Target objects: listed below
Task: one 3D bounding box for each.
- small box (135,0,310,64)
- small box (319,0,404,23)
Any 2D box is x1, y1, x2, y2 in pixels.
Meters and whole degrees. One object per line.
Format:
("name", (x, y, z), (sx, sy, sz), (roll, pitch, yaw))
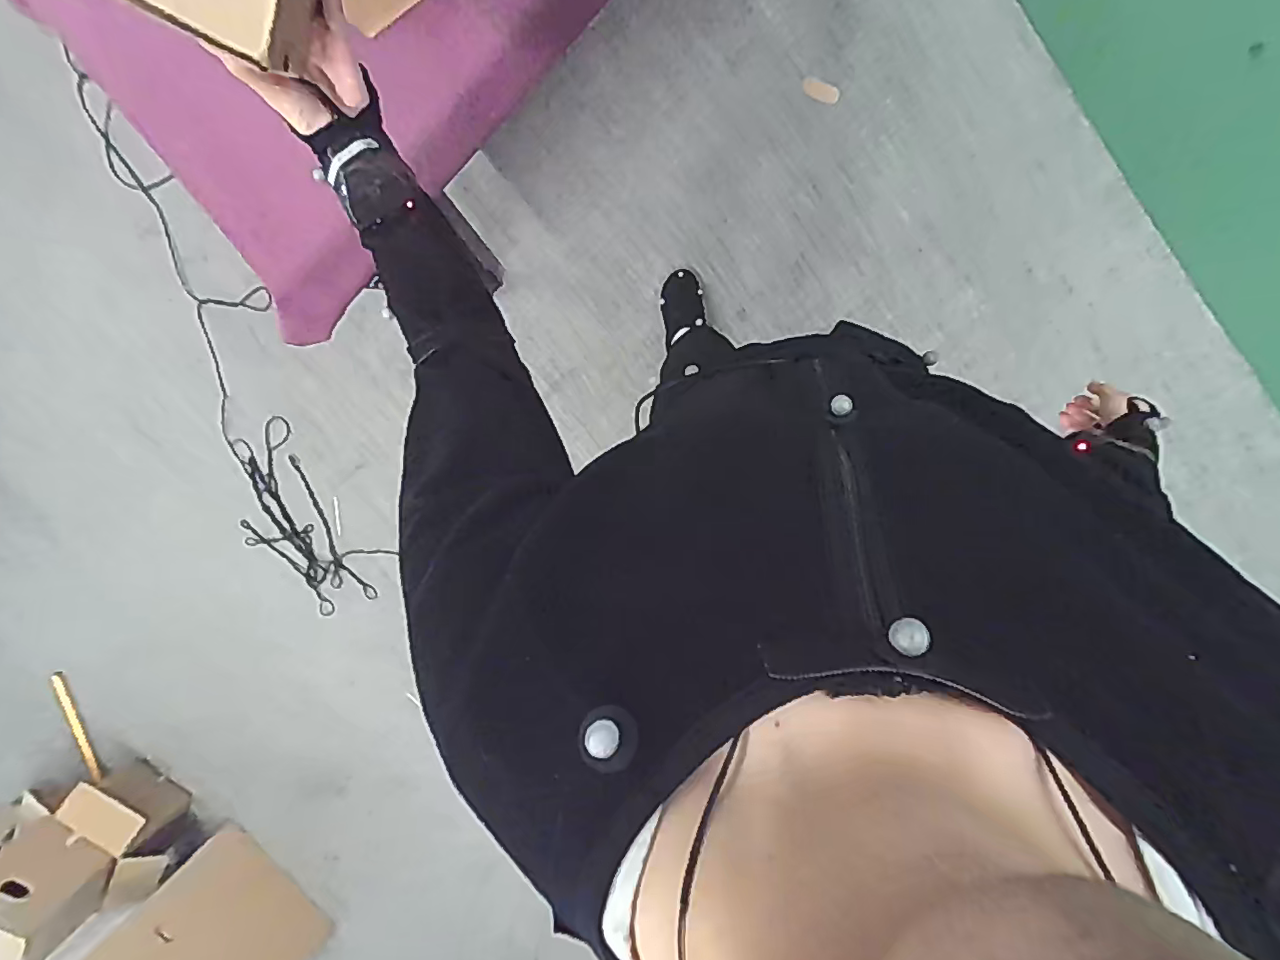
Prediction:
("small box", (-0.270, -0.362, 0.283), (0.179, 0.168, 0.176), (15, 116, -33))
("small box", (-0.327, -0.645, 0.577), (0.168, 0.176, 0.179), (-23, 100, 16))
